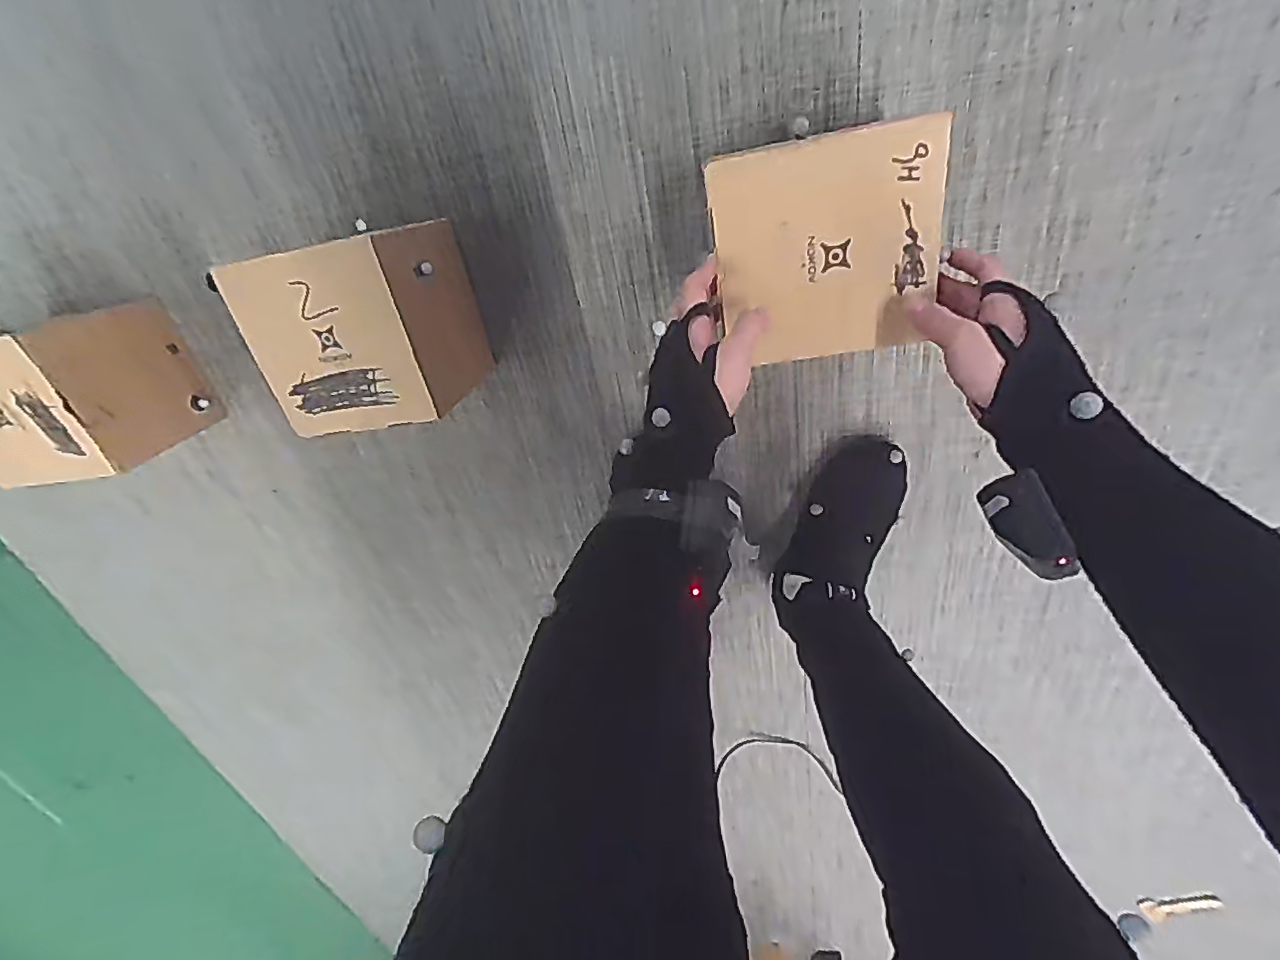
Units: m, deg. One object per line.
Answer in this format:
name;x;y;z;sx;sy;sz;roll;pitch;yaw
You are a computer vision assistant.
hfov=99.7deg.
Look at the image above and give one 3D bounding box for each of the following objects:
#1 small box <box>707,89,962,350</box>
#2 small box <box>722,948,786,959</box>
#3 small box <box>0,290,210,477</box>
small box;0.159;-0.230;0.490;0.179;0.176;0.168;-5;120;12
small box;0.314;1.369;1.423;0.168;0.176;0.179;-14;118;14
small box;-0.675;-0.121;0.651;0.179;0.176;0.168;-5;119;10
